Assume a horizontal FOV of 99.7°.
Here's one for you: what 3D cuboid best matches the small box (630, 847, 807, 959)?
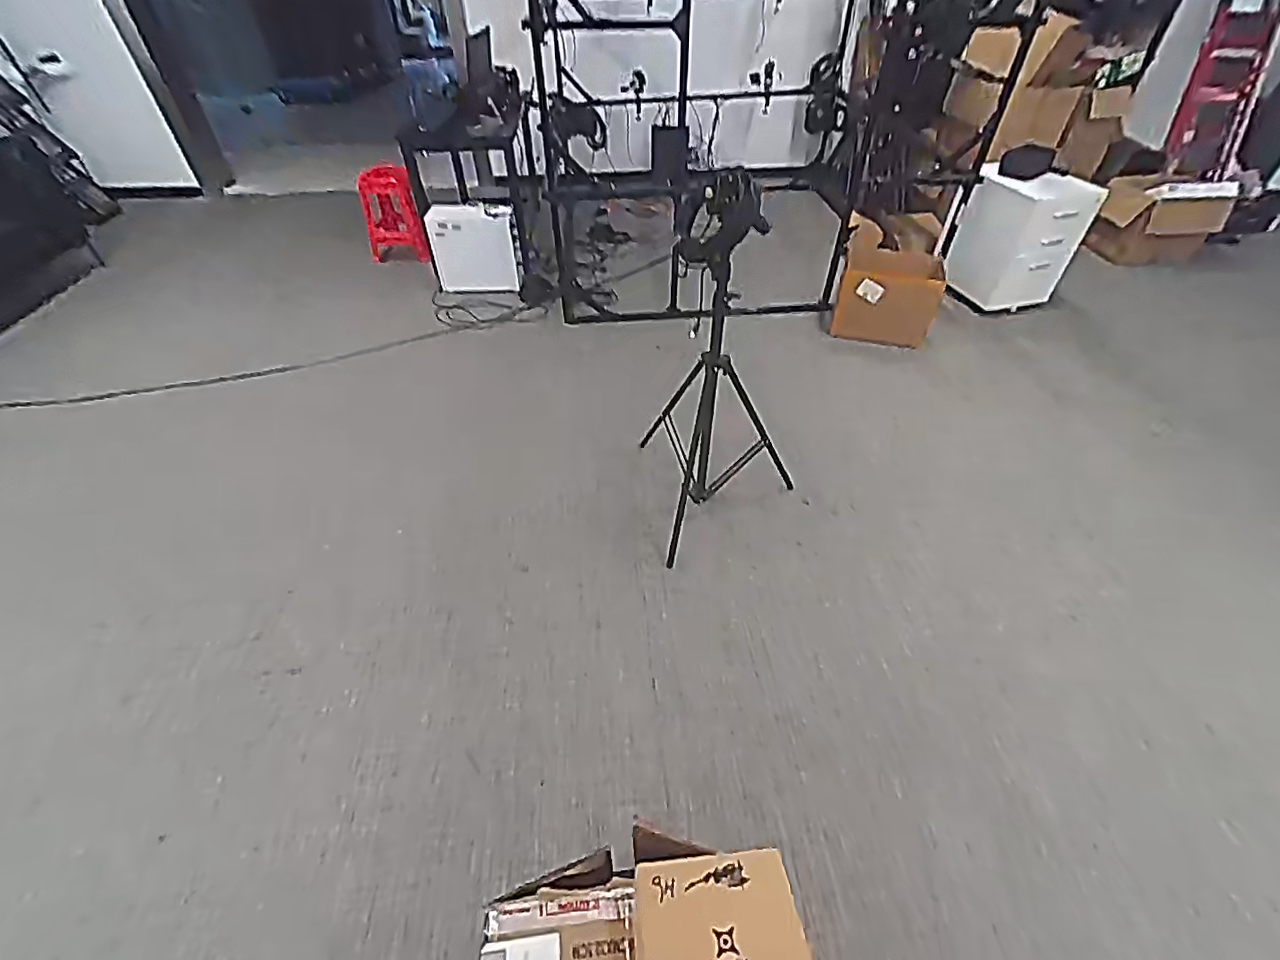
[{"bbox_3d":[0.079,0.527,0.567,0.168,0.176,0.179,-3,33,-6],"label":"small box"}]
